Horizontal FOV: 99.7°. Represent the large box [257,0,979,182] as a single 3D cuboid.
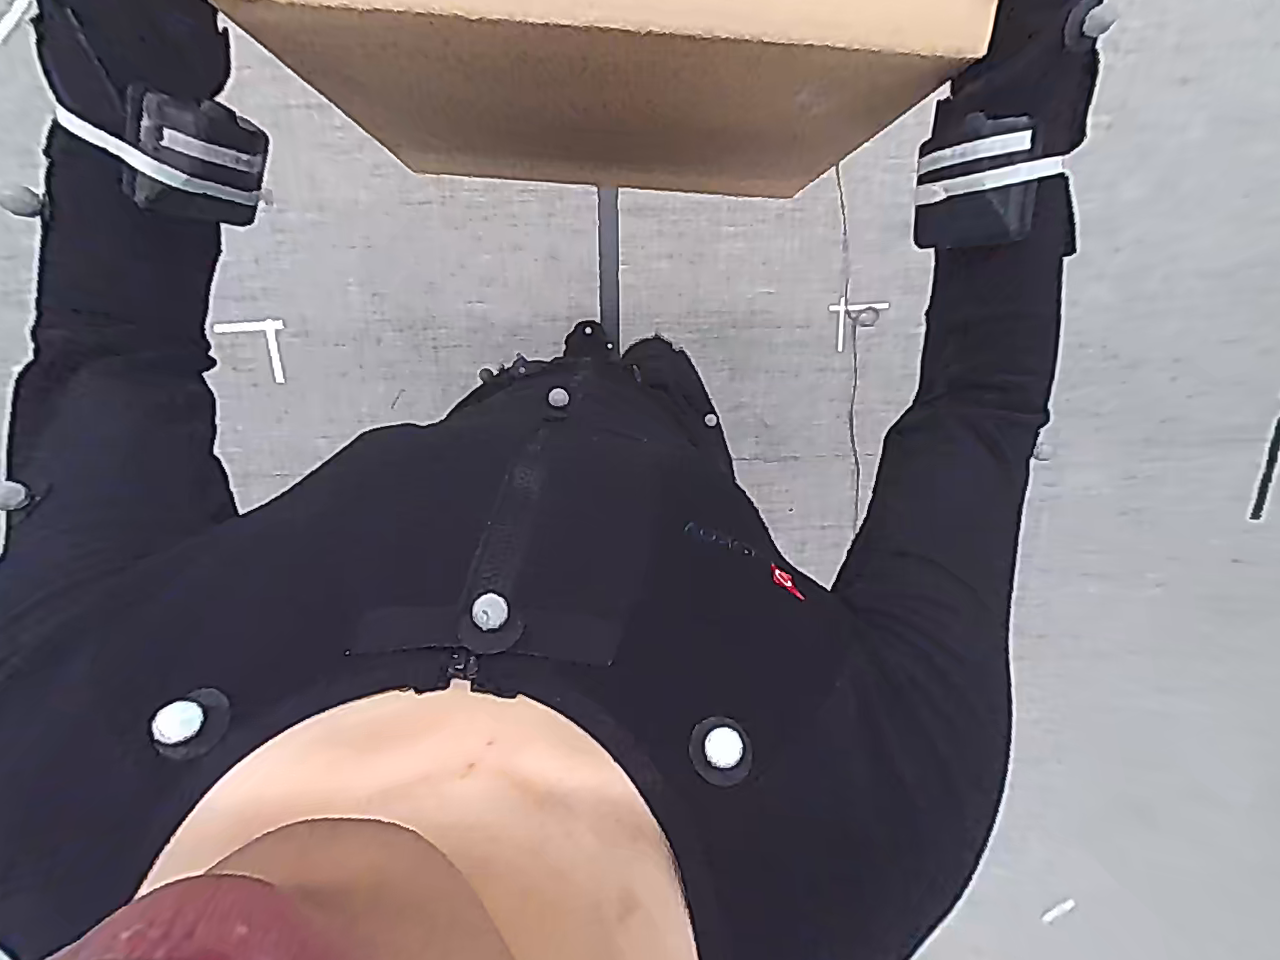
[{"bbox_3d":[-0.020,-0.433,0.390,0.408,0.320,0.320,1,105,-4],"label":"large box"}]
